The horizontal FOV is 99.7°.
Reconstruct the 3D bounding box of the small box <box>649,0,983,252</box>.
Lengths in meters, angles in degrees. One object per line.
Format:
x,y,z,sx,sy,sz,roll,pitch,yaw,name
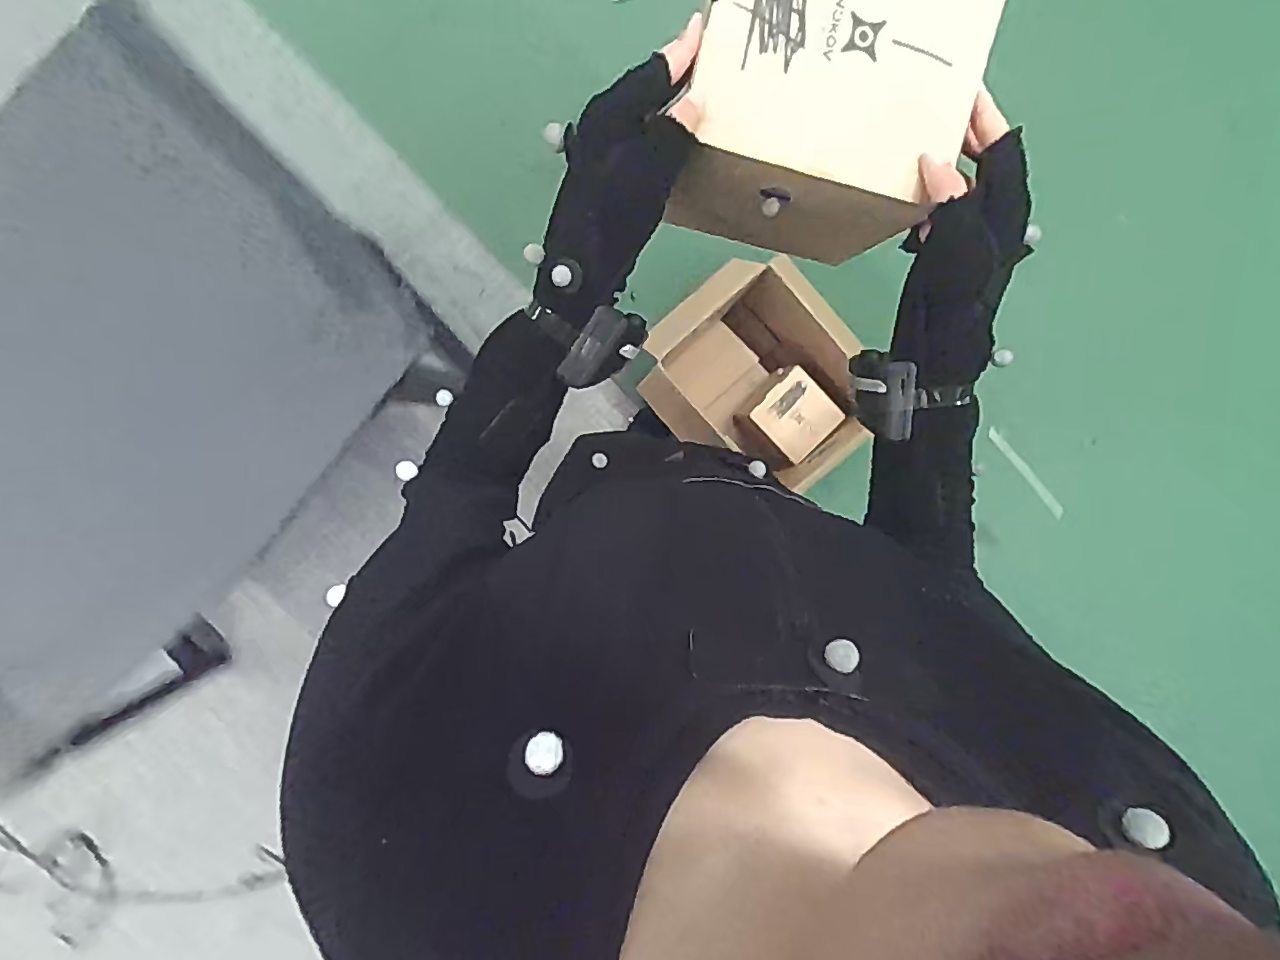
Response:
0.107,-0.283,0.395,0.179,0.176,0.168,11,100,-5,small box
